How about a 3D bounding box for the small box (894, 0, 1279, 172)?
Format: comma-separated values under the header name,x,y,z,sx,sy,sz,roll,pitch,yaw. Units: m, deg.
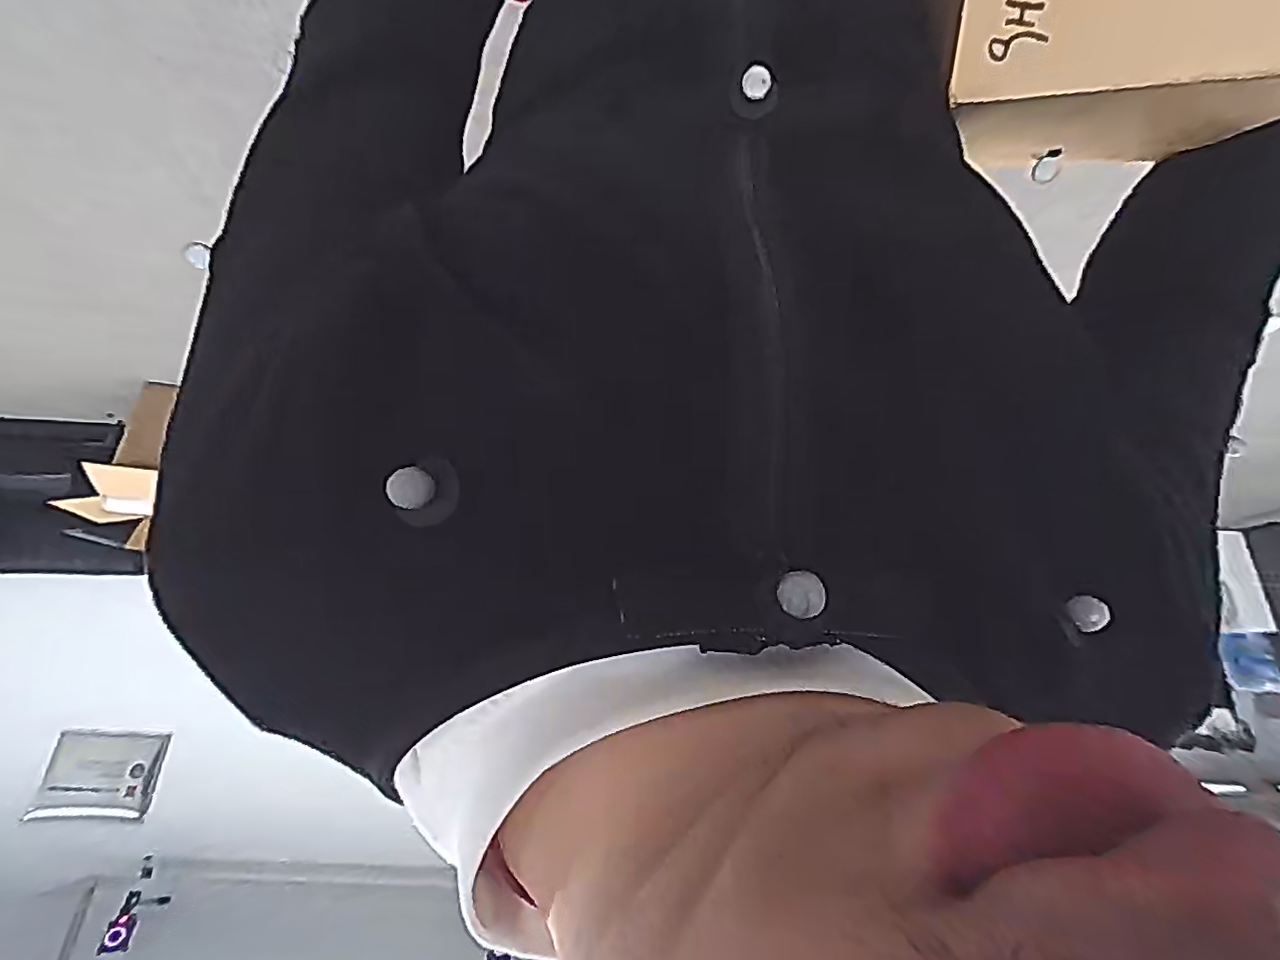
name,x,y,z,sx,sy,sz,roll,pitch,yaw
small box,0.265,-0.288,0.312,0.179,0.168,0.176,6,-161,15
